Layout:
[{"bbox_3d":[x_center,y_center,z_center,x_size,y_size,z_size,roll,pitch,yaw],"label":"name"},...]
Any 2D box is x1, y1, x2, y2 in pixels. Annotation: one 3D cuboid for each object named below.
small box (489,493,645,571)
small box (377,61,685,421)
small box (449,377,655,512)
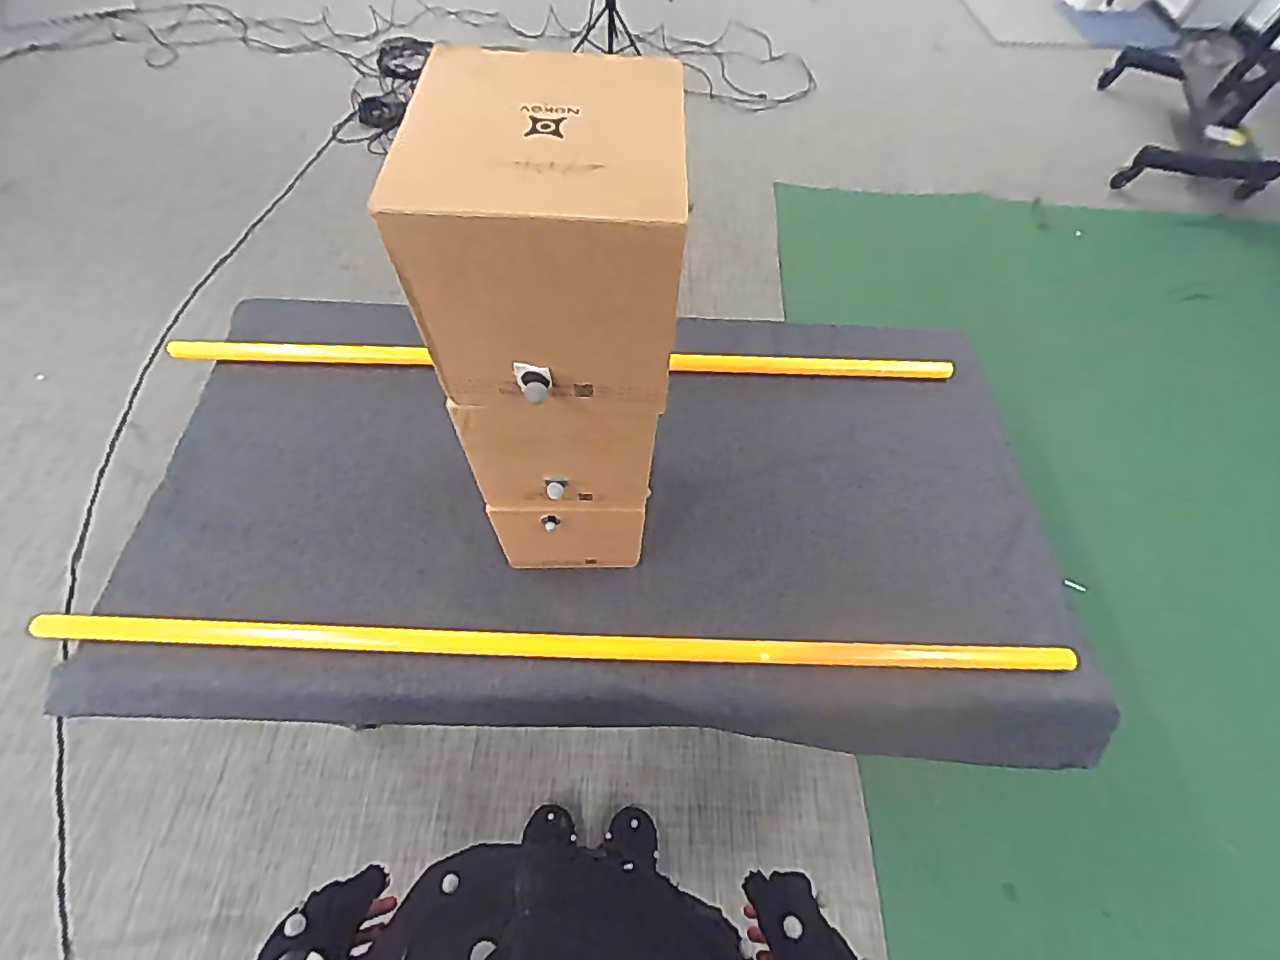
[{"bbox_3d":[-0.082,0.001,0.674,0.168,0.176,0.179,0,60,-3],"label":"small box"},{"bbox_3d":[-0.059,-0.164,0.394,0.168,0.176,0.179,1,61,-1],"label":"small box"},{"bbox_3d":[-0.073,-0.085,0.535,0.168,0.176,0.179,1,60,-2],"label":"small box"}]
